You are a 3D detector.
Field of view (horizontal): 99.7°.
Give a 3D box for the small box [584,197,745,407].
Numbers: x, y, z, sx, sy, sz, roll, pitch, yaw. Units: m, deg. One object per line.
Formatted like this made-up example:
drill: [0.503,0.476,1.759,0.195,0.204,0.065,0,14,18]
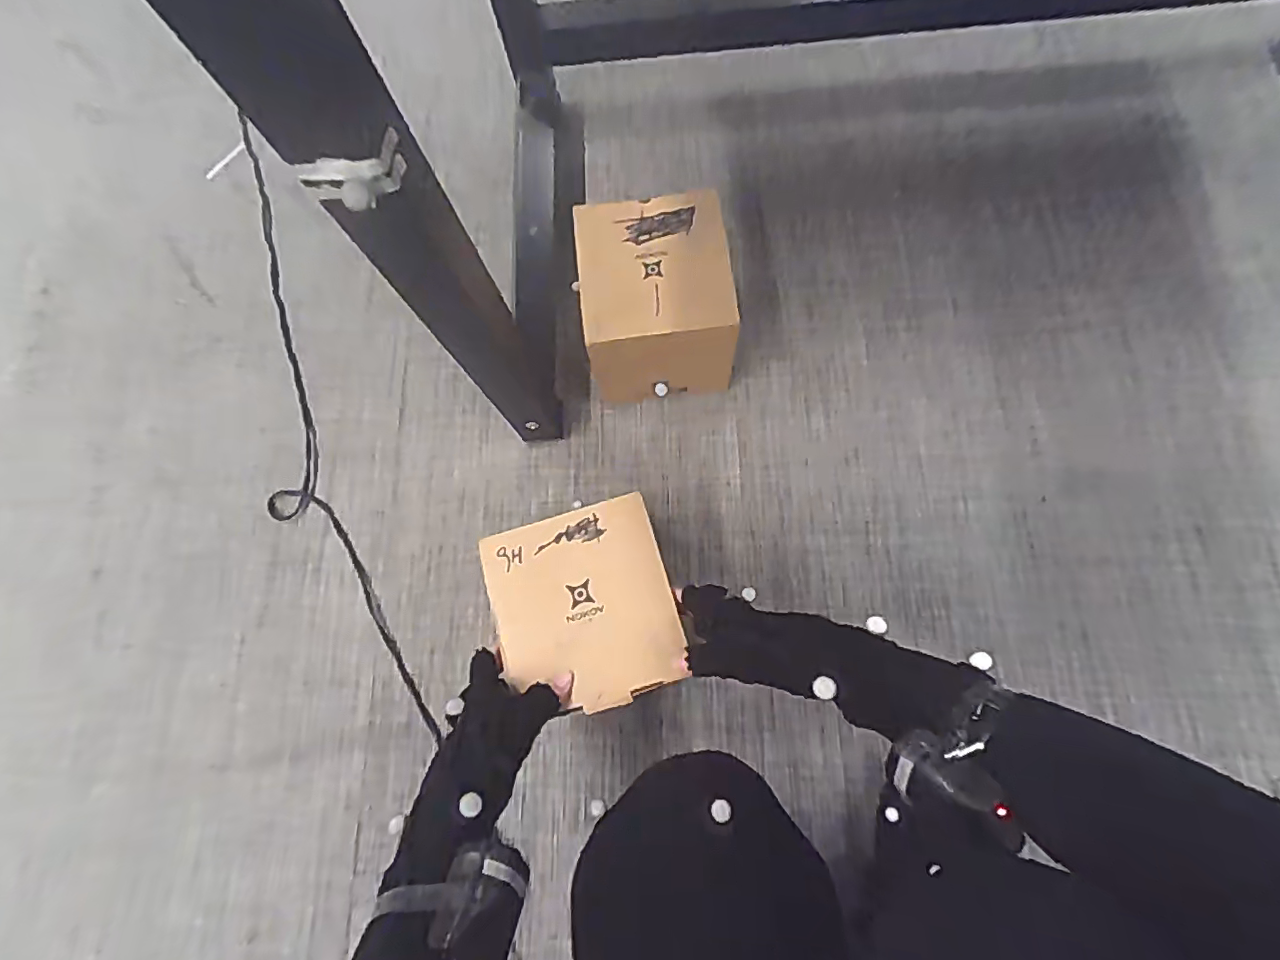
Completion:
small box: [0.028,-0.207,0.665,0.168,0.176,0.179,-6,75,3]
